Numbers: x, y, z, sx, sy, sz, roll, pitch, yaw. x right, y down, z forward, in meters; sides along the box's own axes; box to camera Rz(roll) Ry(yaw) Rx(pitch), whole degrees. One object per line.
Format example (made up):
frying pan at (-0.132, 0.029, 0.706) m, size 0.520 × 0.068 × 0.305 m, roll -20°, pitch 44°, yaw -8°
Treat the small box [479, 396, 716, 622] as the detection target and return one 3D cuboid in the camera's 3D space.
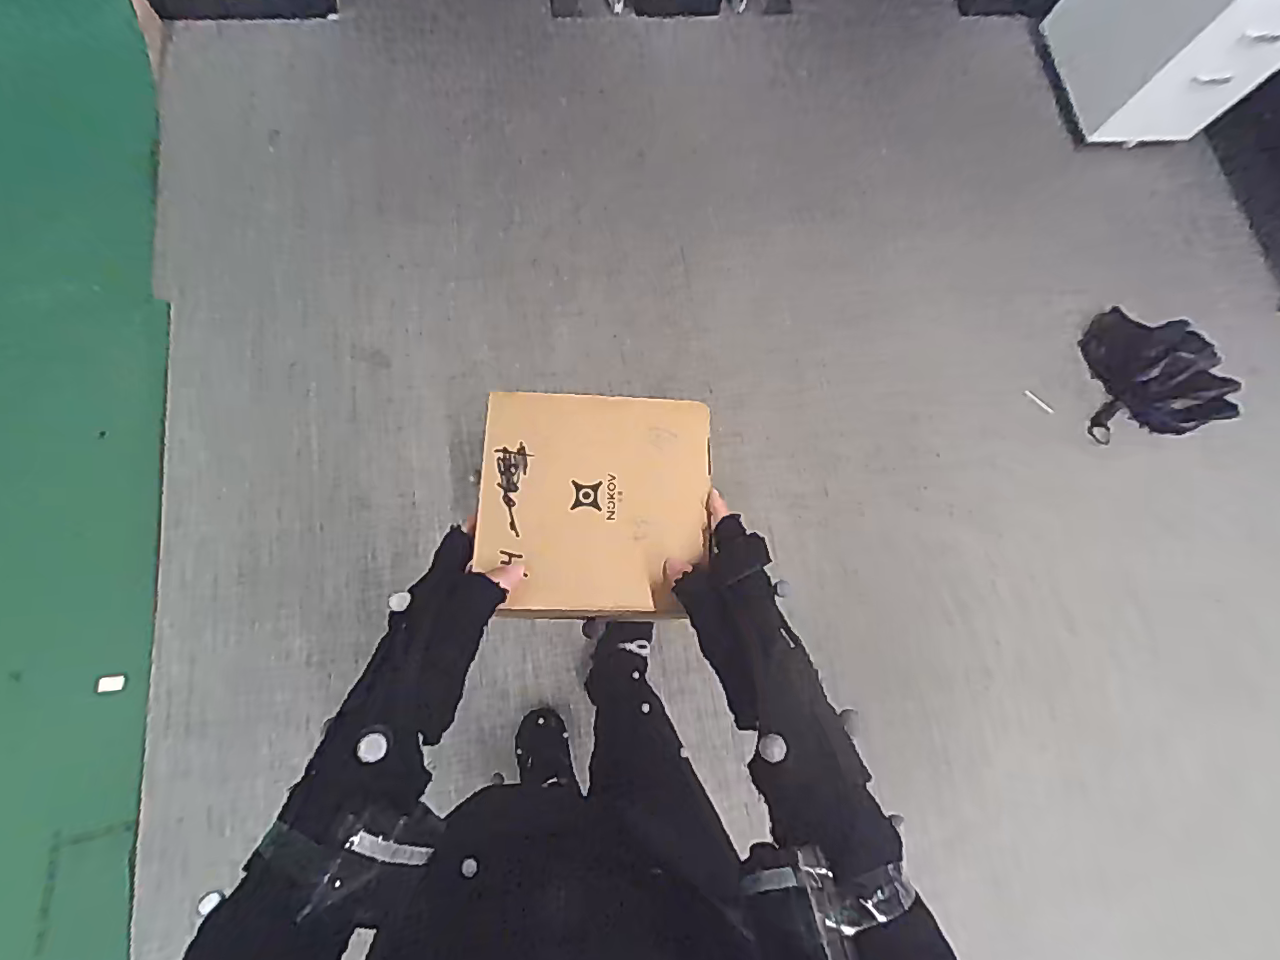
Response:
small box at (-0.038, 0.039, 0.493) m, size 0.179 × 0.176 × 0.168 m, roll 2°, pitch 72°, yaw -6°
